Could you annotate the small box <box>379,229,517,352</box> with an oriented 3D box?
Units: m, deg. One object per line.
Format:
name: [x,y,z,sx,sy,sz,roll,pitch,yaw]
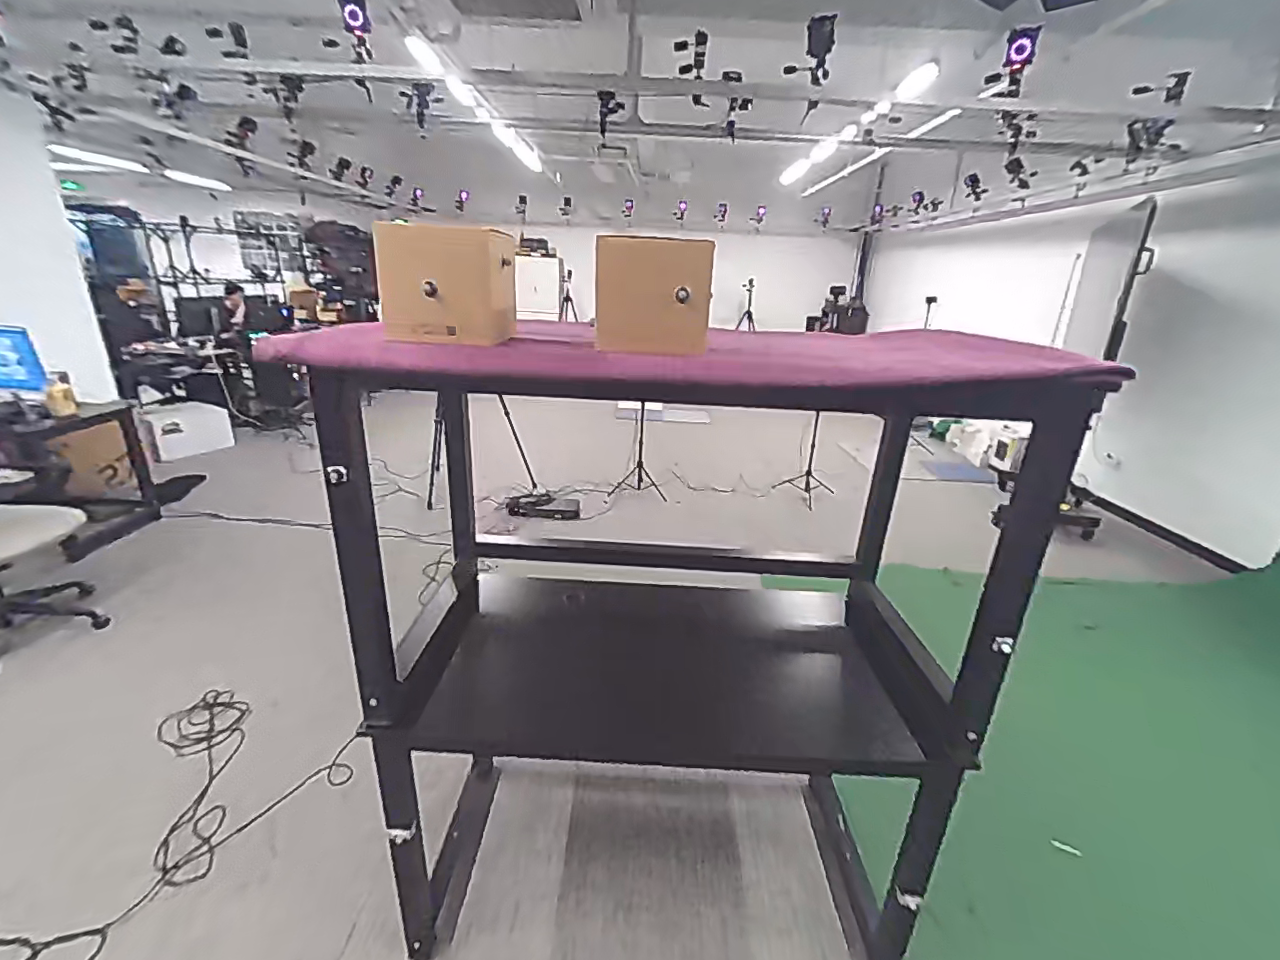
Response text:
small box: [-0.298,-0.306,0.883,0.168,0.176,0.179,4,20,-1]

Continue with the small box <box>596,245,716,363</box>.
small box: [0.023,-0.287,0.891,0.179,0.176,0.168,2,19,-1]
